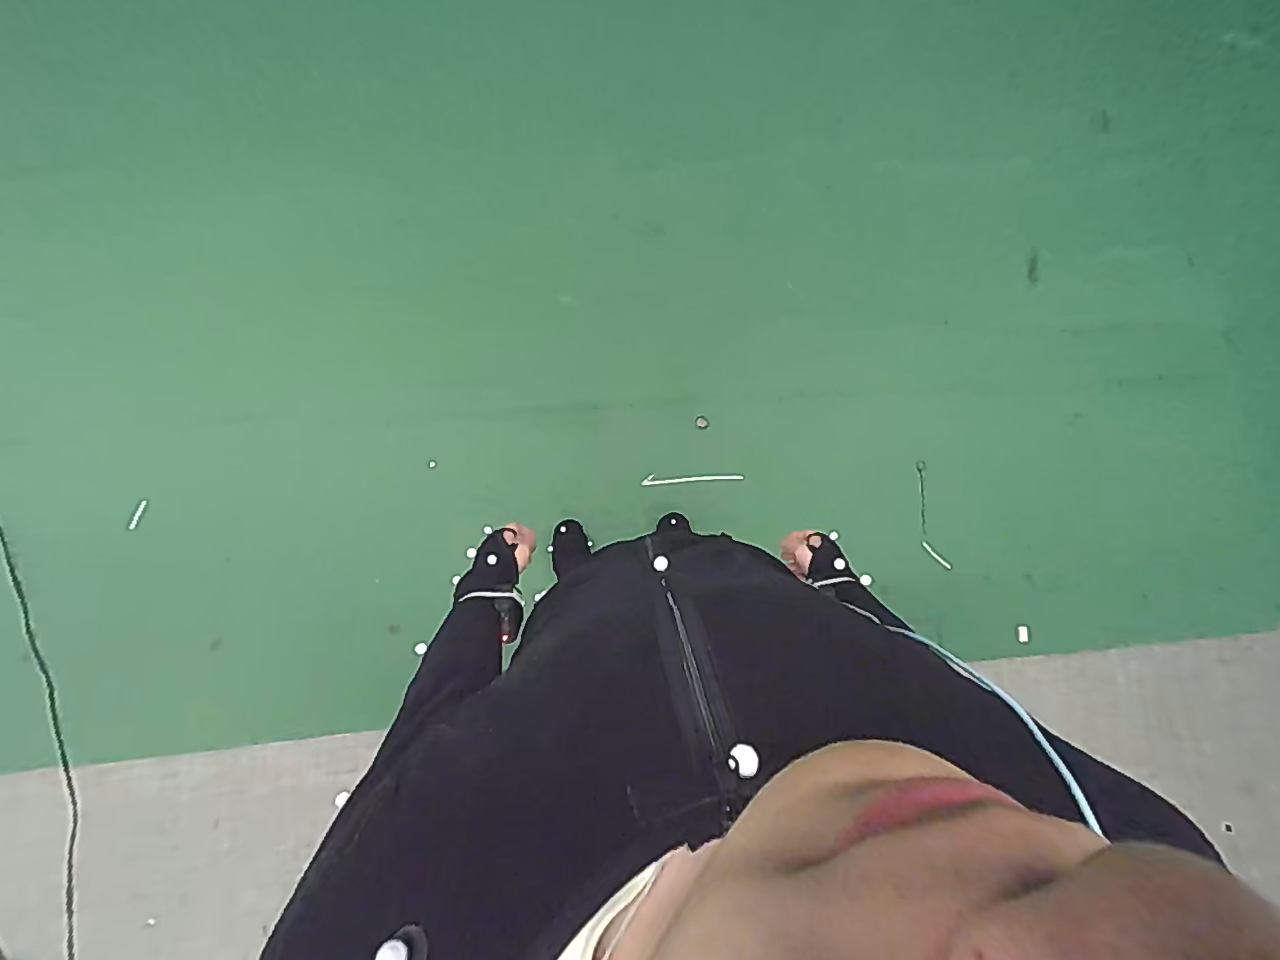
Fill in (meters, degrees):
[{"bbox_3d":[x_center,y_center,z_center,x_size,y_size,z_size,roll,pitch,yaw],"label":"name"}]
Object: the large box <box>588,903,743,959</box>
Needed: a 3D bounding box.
[{"bbox_3d":[0.081,1.404,1.421,0.408,0.320,0.320,-7,86,-5],"label":"large box"}]
